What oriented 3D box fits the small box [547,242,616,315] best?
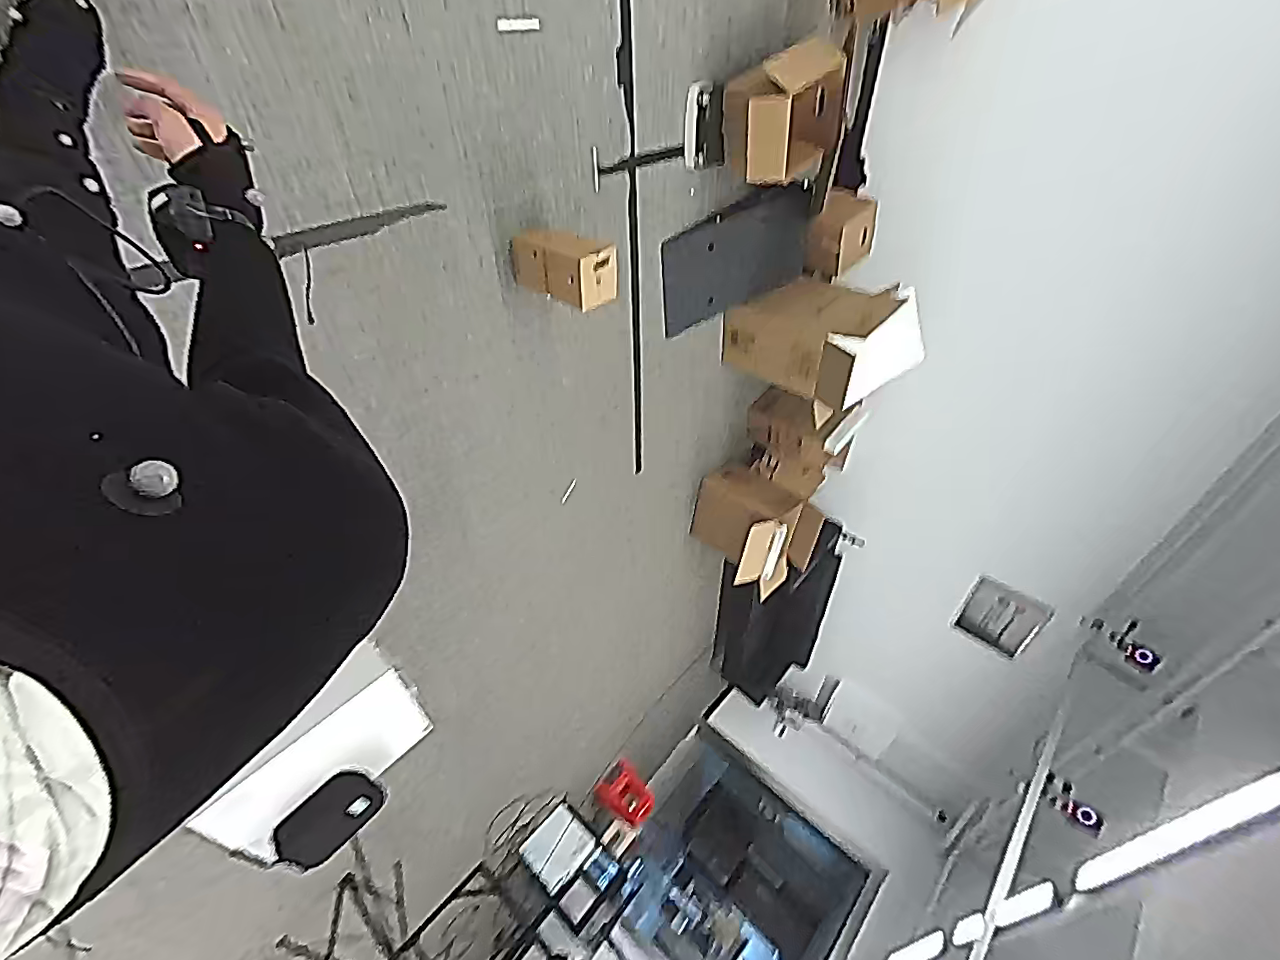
[{"bbox_3d":[-0.197,-0.684,1.816,0.168,0.176,0.179,-37,144,-33],"label":"small box"}]
